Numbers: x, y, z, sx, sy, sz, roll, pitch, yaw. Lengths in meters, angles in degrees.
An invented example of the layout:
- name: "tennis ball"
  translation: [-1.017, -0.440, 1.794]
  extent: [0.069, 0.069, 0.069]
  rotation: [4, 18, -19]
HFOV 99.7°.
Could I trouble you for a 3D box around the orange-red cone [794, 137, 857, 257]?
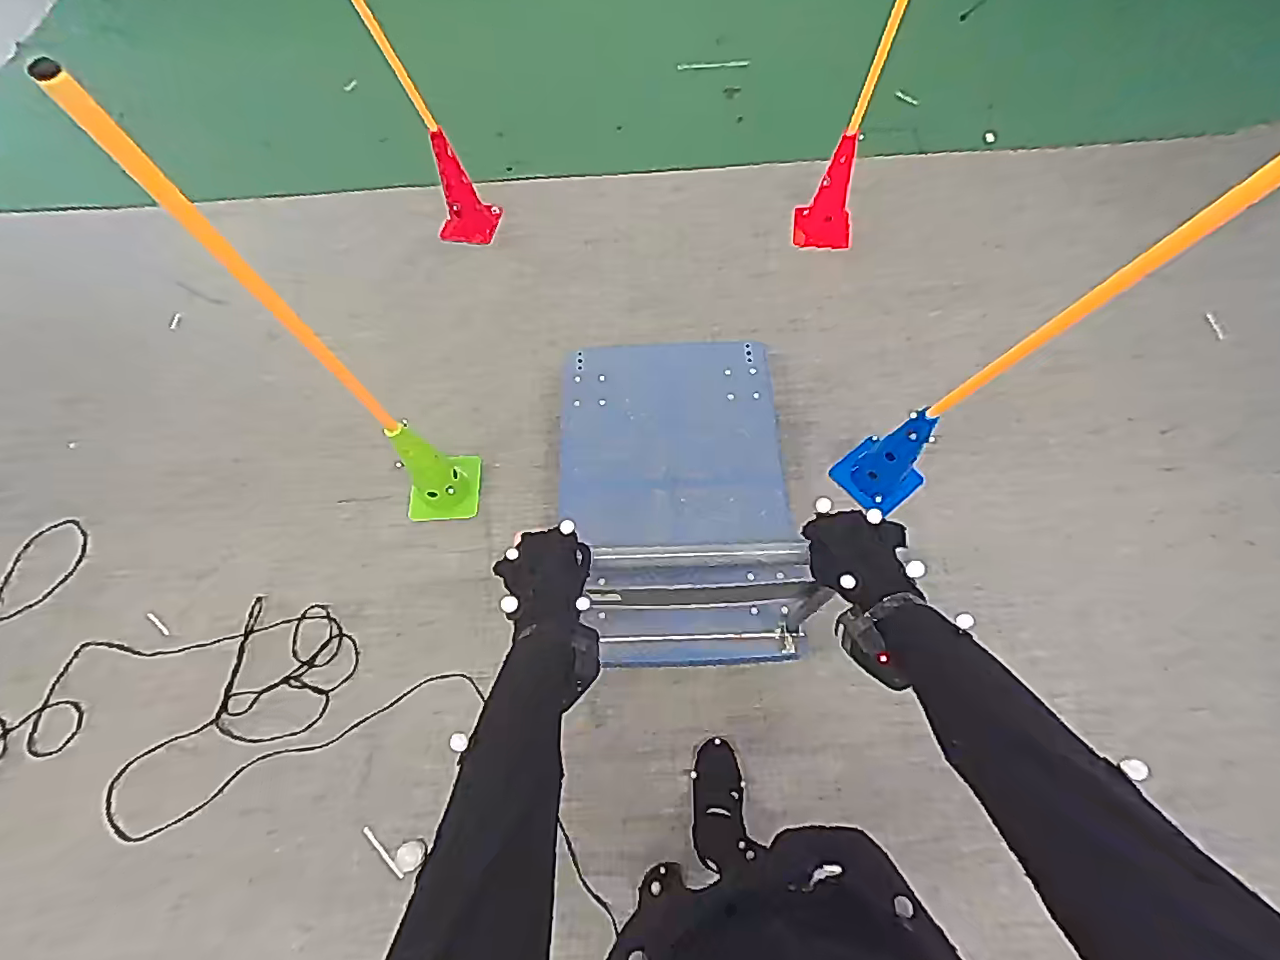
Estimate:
- name: "orange-red cone"
  translation: [0.649, -0.951, 1.792]
  extent: [0.198, 0.360, 0.199]
  rotation: [7, 67, 7]
